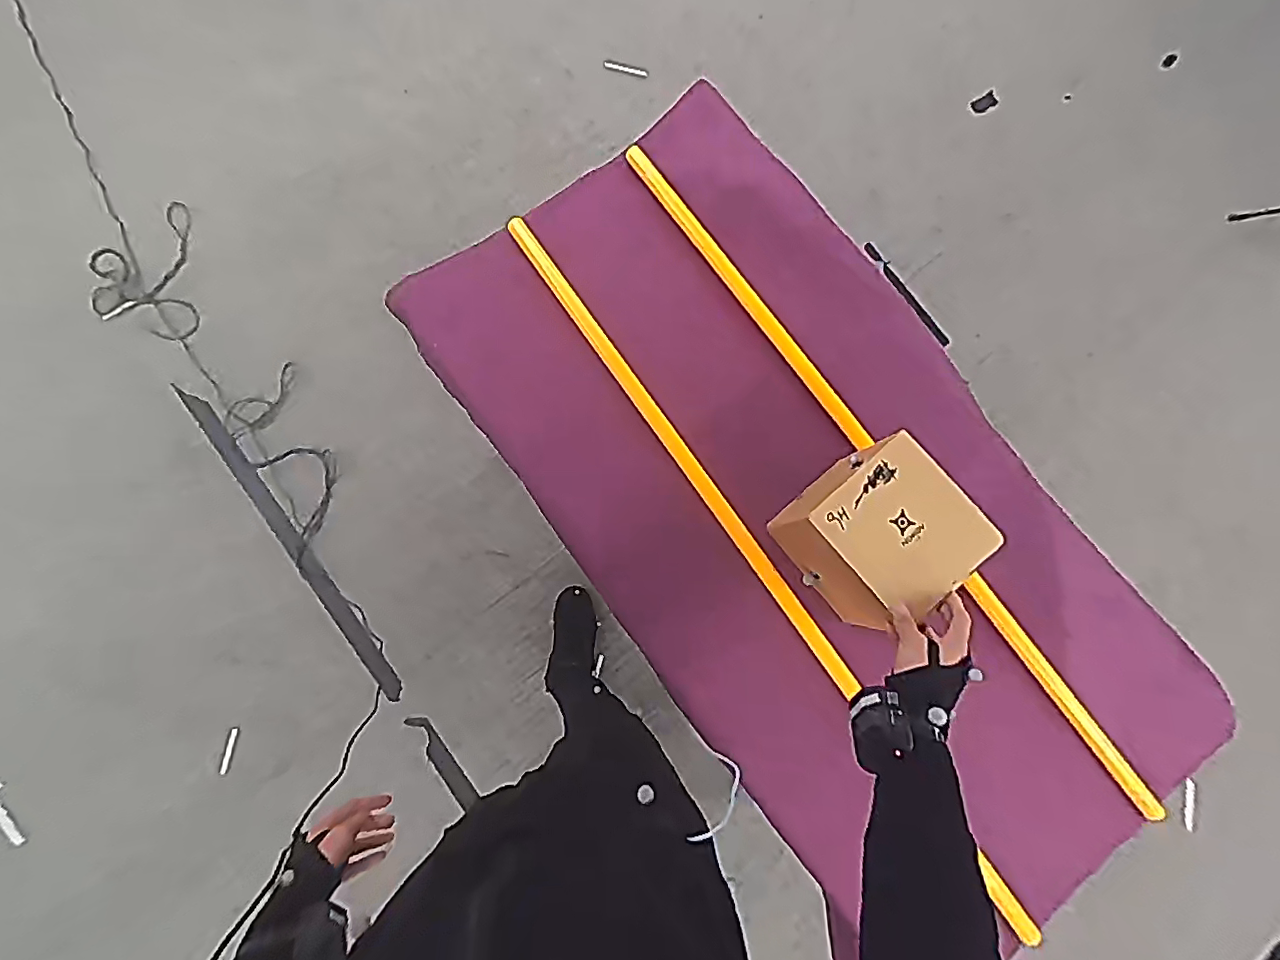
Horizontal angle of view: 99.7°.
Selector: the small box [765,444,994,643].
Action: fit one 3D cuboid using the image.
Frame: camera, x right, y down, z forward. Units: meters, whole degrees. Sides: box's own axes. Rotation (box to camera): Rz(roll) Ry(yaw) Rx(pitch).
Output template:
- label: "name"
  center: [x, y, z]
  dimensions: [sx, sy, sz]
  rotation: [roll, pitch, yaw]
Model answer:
- label: "small box"
  center: [0.296, 0.081, 0.707]
  dimensions: [0.168, 0.176, 0.179]
  rotation: [-39, 86, -8]
